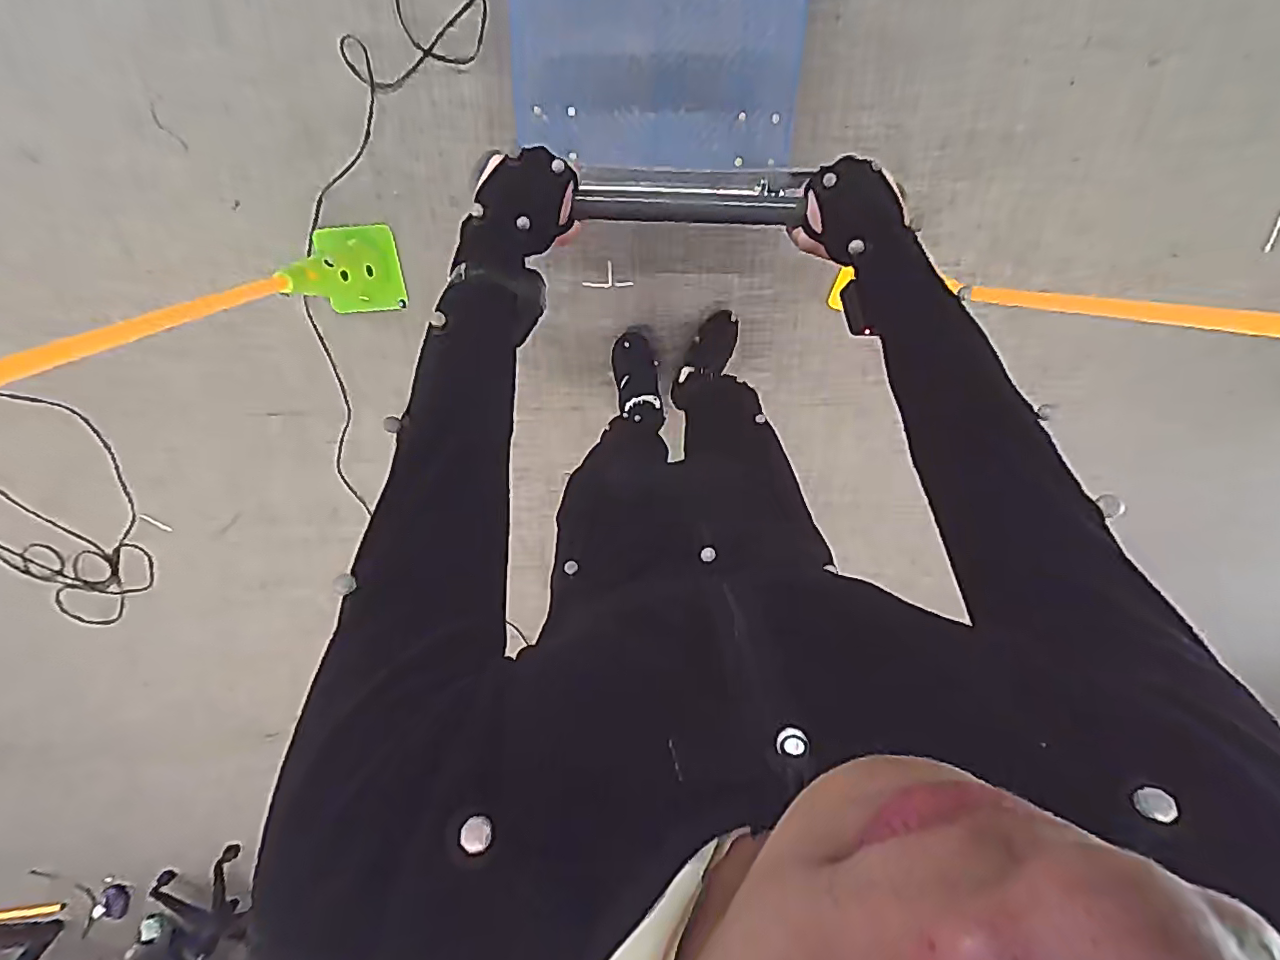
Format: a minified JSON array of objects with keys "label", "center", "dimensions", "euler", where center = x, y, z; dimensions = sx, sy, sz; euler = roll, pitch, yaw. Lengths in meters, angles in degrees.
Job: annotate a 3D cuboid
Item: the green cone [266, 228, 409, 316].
[{"label":"green cone","center":[-0.705,-0.456,1.219],"dimensions":[0.202,0.368,0.200],"euler":[-4,114,2]}]
